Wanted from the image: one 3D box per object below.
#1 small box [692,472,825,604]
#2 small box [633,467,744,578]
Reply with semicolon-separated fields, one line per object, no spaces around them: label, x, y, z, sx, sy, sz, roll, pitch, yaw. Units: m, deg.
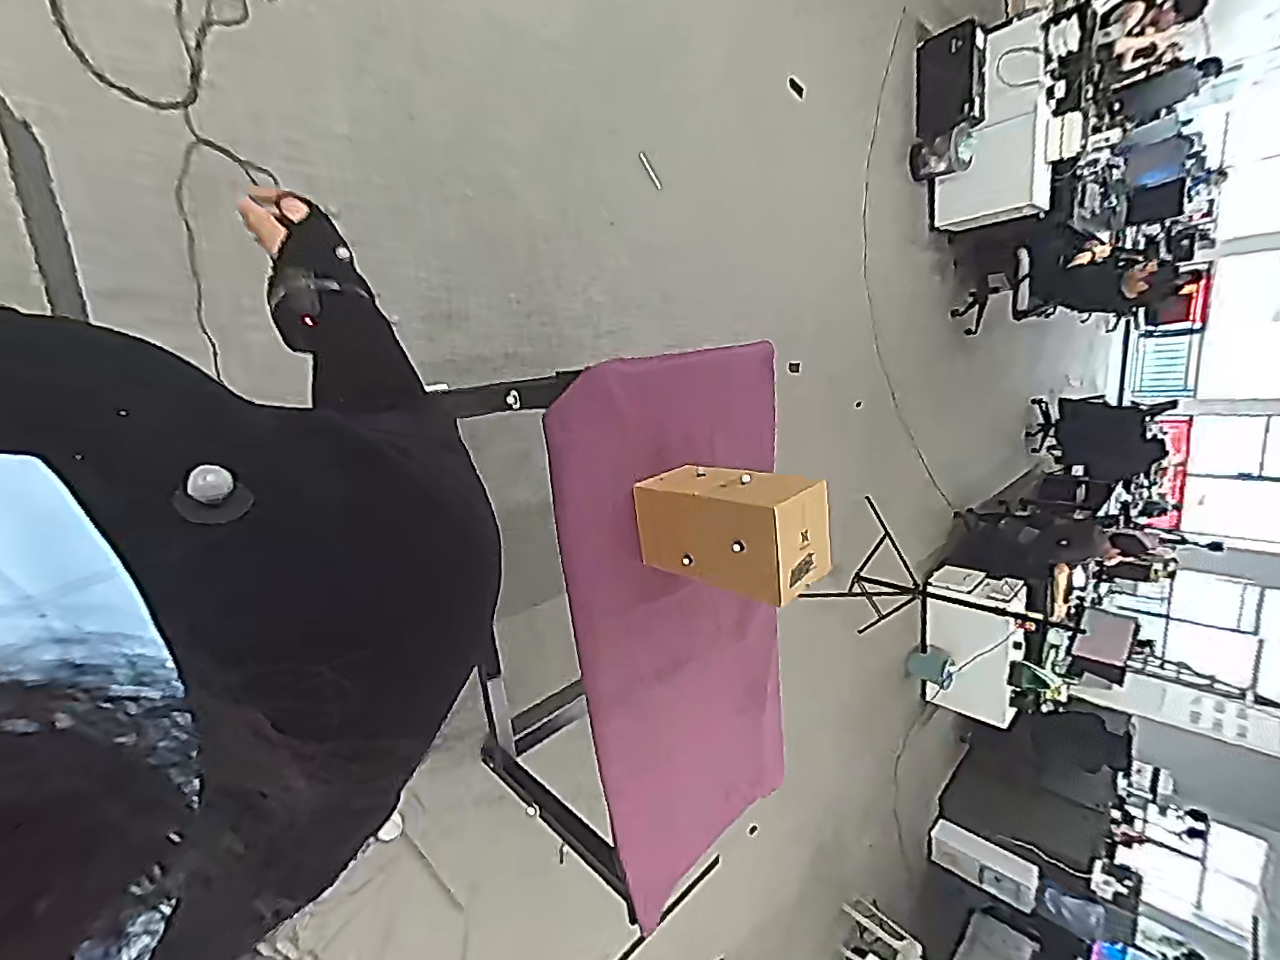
small box;0.212;0.093;0.968;0.168;0.176;0.179;-20;109;-41
small box;0.102;0.074;1.089;0.168;0.176;0.179;-20;109;-40
